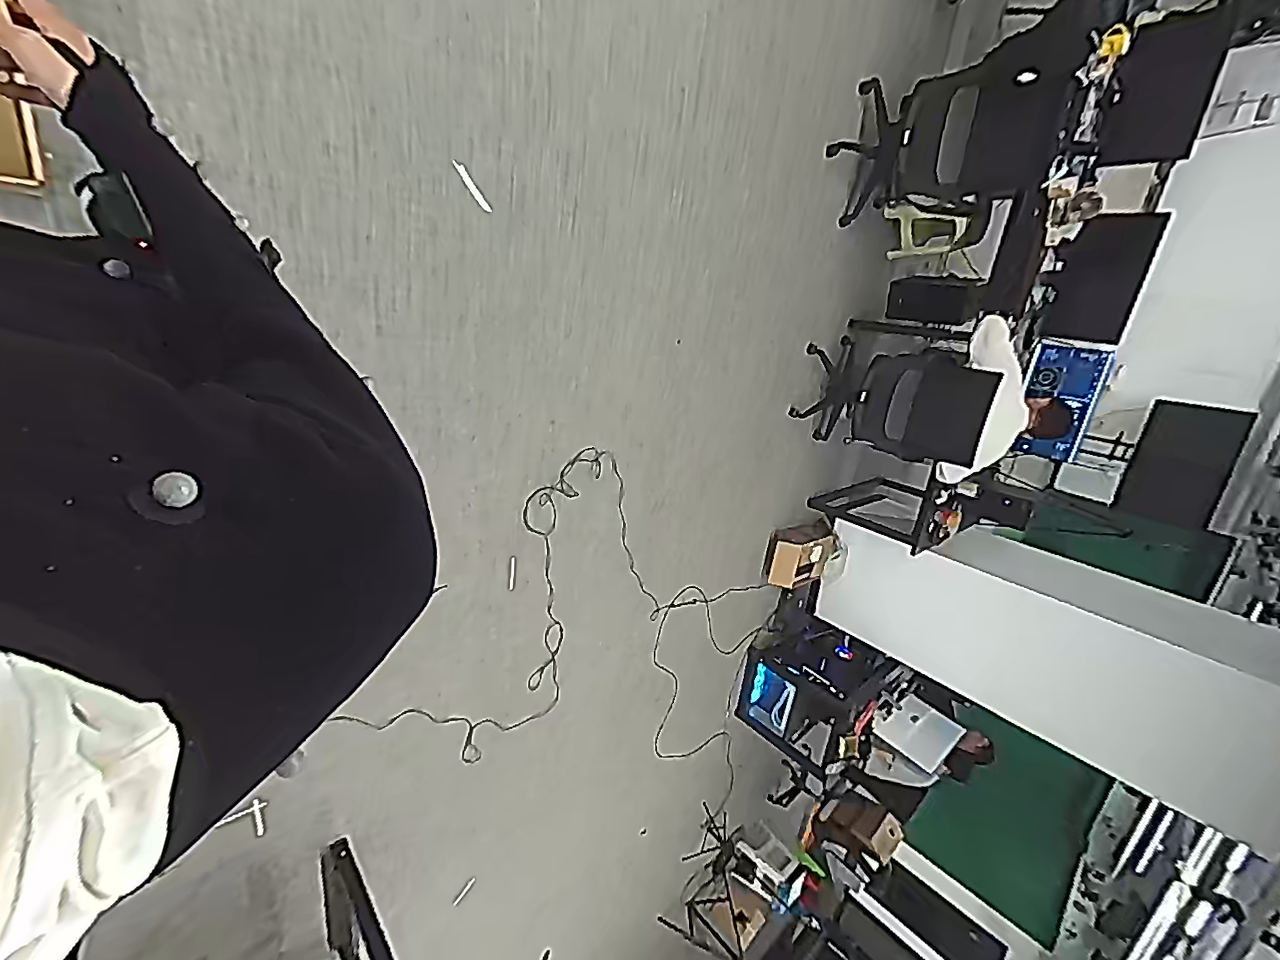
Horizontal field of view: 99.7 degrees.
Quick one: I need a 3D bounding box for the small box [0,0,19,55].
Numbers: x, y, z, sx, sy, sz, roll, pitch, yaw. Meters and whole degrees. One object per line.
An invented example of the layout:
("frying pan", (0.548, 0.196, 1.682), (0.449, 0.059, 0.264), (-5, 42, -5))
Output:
("small box", (-0.600, -0.421, 0.375), (0.168, 0.176, 0.179), (-28, 129, -45))
